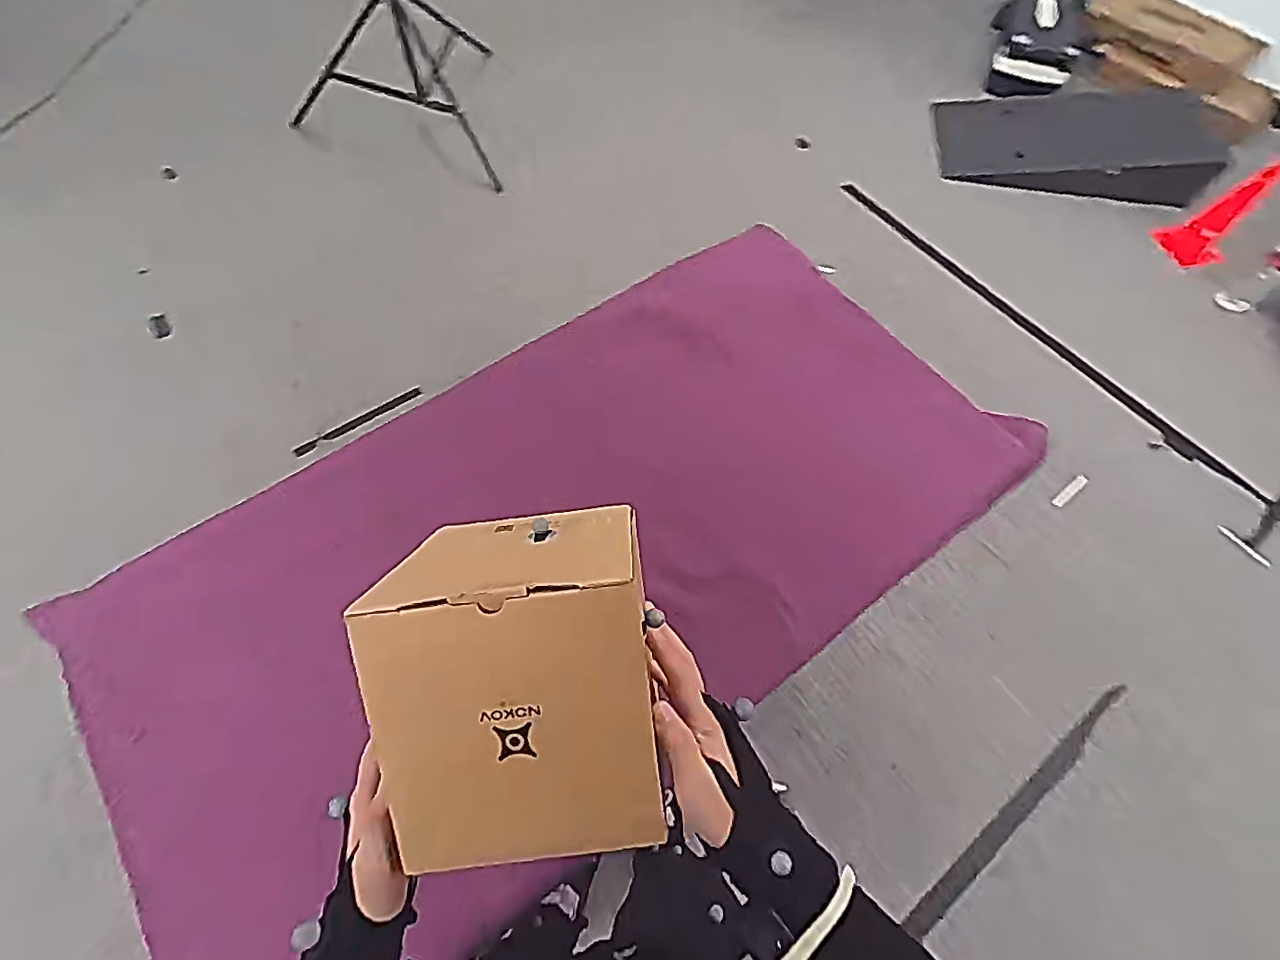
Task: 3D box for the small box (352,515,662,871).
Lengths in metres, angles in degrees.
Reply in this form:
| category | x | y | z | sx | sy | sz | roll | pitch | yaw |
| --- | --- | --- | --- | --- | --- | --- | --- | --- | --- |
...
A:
| category | x | y | z | sx | sy | sz | roll | pitch | yaw |
| --- | --- | --- | --- | --- | --- | --- | --- | --- | --- |
| small box | -0.074 | 0.137 | 0.399 | 0.168 | 0.176 | 0.179 | -7 | 100 | 0 |
